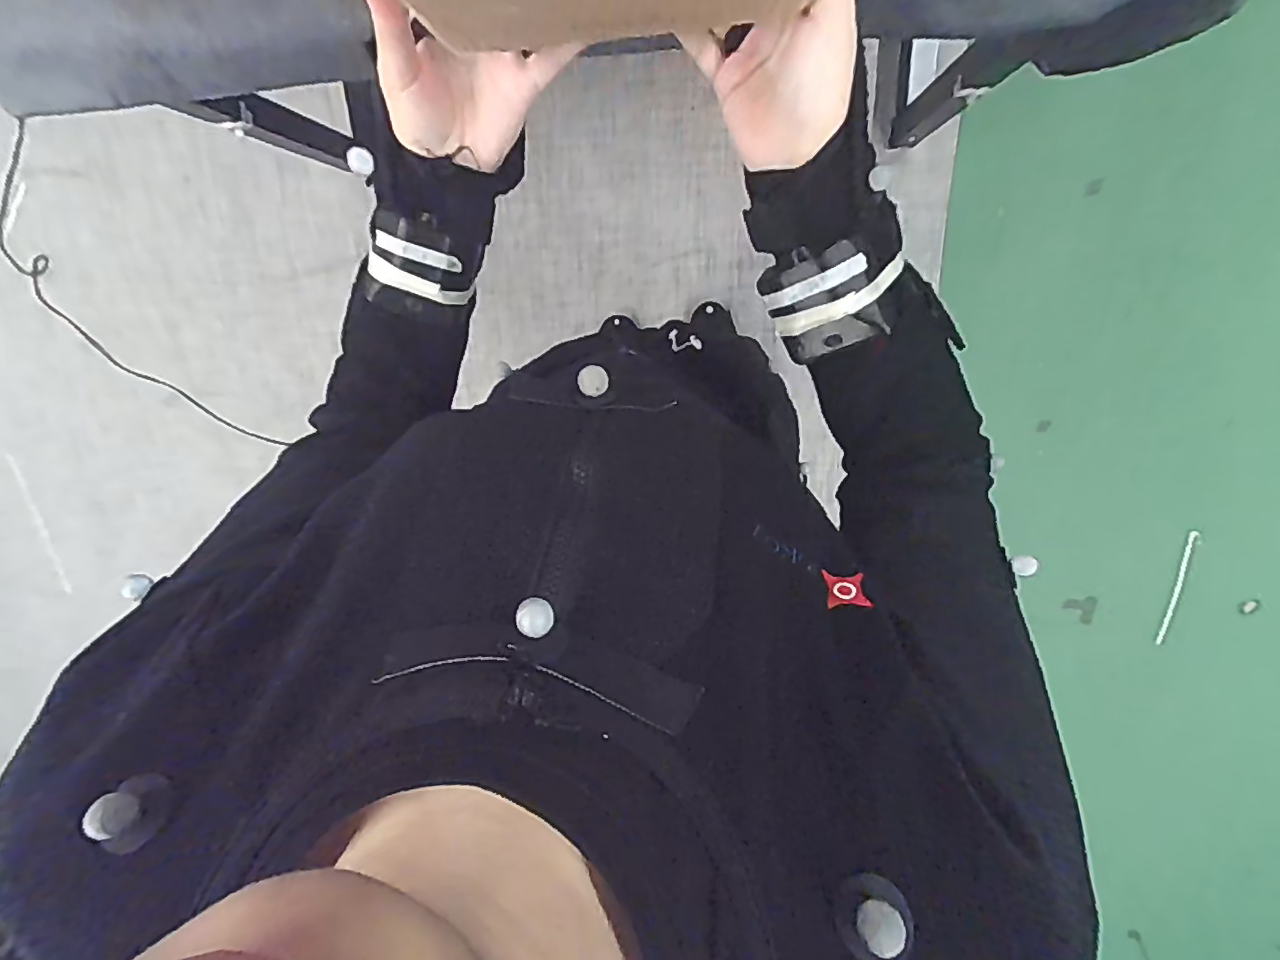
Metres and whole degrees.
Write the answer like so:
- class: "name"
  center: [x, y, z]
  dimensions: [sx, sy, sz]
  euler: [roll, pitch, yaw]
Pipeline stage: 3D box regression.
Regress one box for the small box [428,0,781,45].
- class: "small box"
  center: [-0.010, -0.261, 0.159]
  dimensions: [0.179, 0.176, 0.168]
  euler: [-3, 113, 5]
